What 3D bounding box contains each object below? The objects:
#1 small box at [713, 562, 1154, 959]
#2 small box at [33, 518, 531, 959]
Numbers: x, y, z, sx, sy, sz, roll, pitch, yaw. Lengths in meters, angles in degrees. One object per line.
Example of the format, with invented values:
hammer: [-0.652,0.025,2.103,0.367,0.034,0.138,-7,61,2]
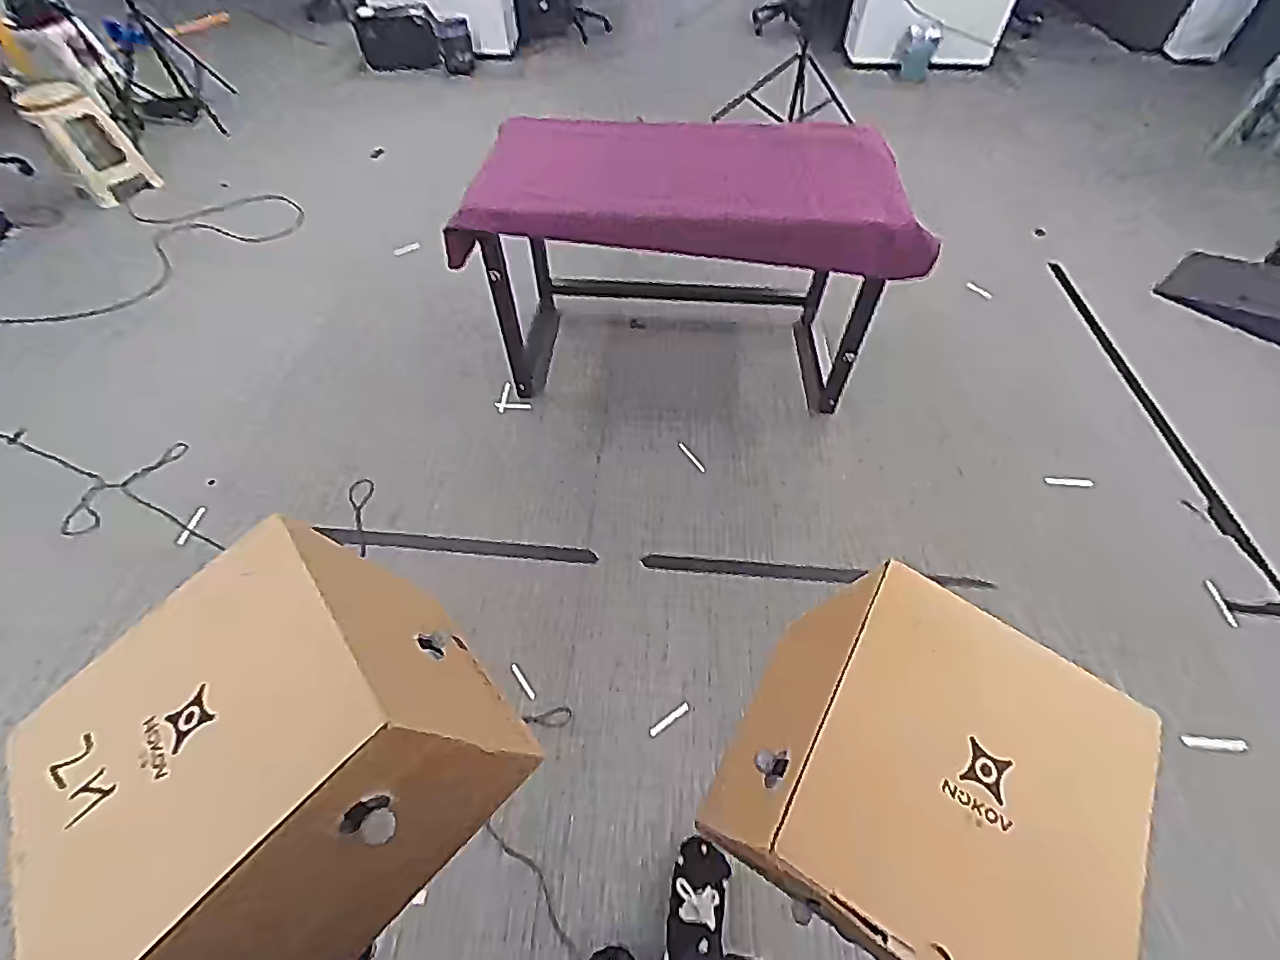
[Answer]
small box: [0.166,0.188,0.347,0.168,0.176,0.179,31,63,8]
small box: [-0.190,0.162,0.329,0.179,0.176,0.168,-45,55,-11]
